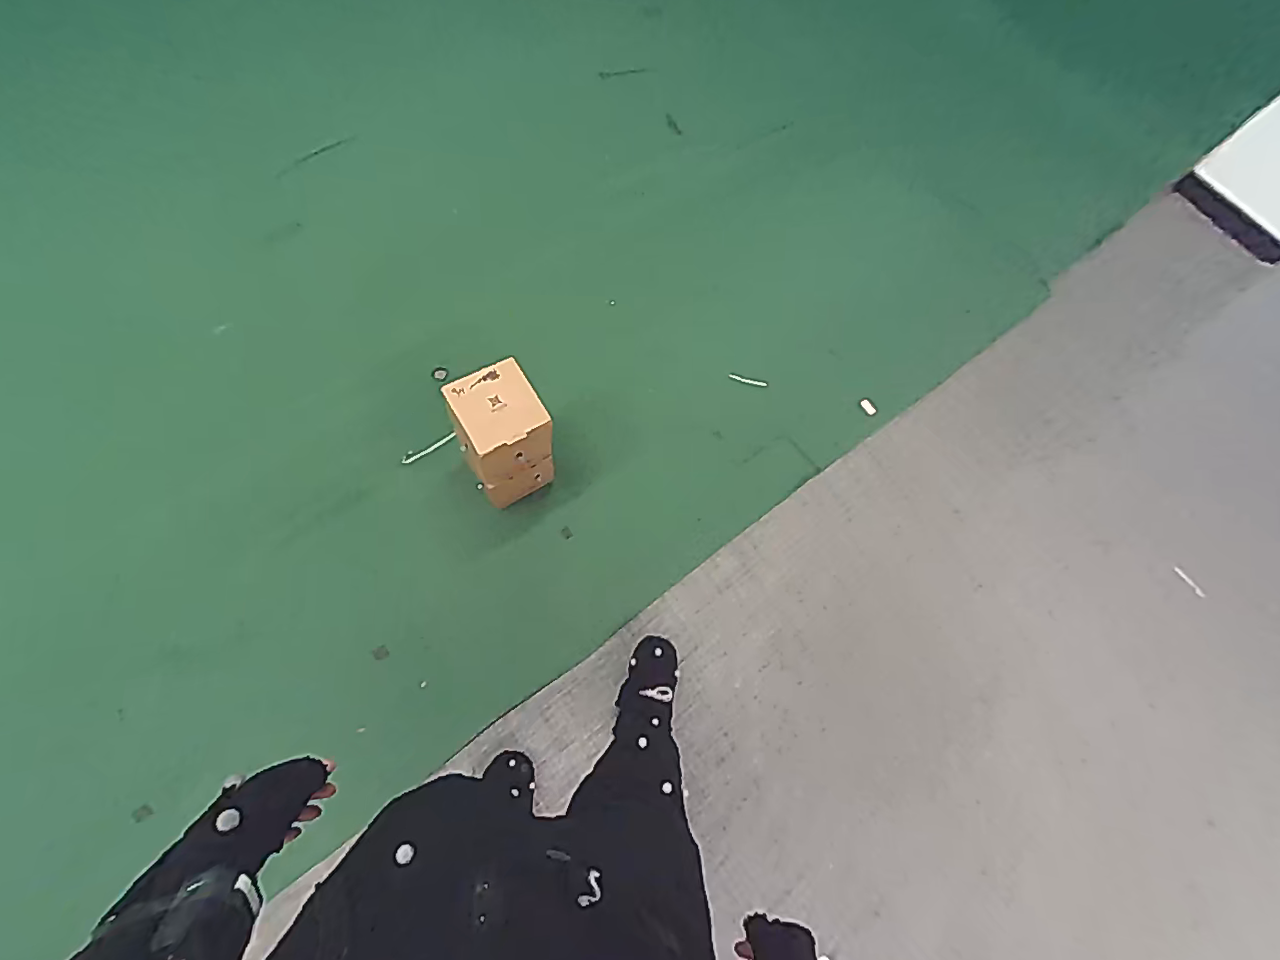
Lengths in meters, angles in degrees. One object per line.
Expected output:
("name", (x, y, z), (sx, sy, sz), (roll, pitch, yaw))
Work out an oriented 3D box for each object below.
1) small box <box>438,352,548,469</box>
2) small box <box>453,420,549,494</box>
("small box", (-0.311, -0.140, 1.177), (0.168, 0.176, 0.179), (-29, 78, -18))
("small box", (-0.330, -0.083, 1.309), (0.168, 0.176, 0.179), (-28, 77, -19))
